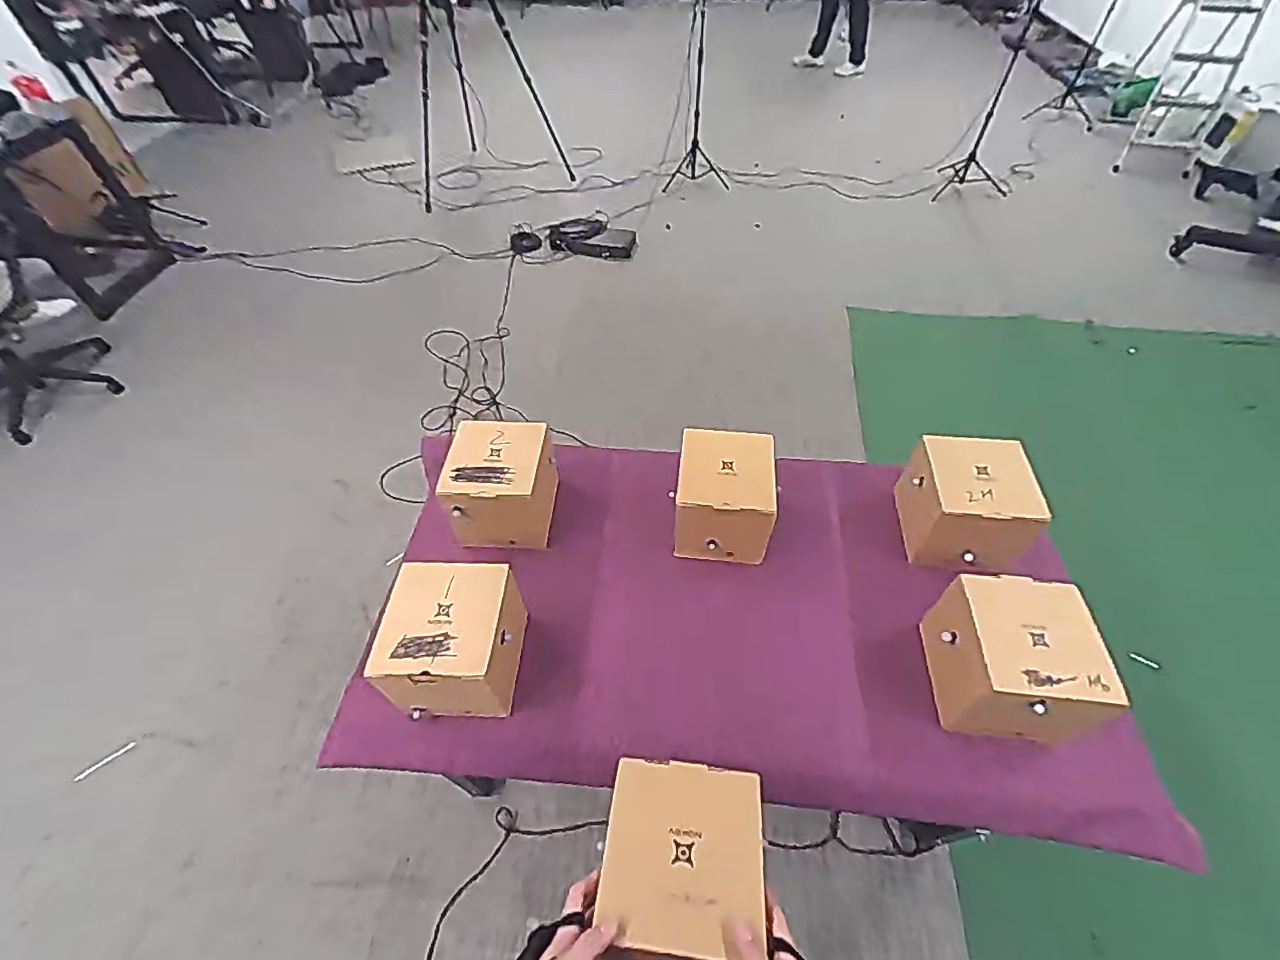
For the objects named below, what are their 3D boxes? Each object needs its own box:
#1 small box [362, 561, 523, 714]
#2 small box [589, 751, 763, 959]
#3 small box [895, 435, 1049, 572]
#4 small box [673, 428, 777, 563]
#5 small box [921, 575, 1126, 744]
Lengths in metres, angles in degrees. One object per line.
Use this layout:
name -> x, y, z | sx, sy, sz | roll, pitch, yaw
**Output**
small box -> -0.281, 0.241, 0.819 | 0.168, 0.176, 0.179 | 2, 49, 1
small box -> 0.044, 0.443, 0.610 | 0.168, 0.176, 0.179 | 4, 37, 7
small box -> 0.579, 0.043, 0.974 | 0.168, 0.176, 0.179 | 4, 52, 7
small box -> 0.151, 0.029, 0.994 | 0.168, 0.176, 0.179 | 5, 53, 4
small box -> 0.540, 0.264, 0.798 | 0.168, 0.176, 0.179 | 5, 49, 6
